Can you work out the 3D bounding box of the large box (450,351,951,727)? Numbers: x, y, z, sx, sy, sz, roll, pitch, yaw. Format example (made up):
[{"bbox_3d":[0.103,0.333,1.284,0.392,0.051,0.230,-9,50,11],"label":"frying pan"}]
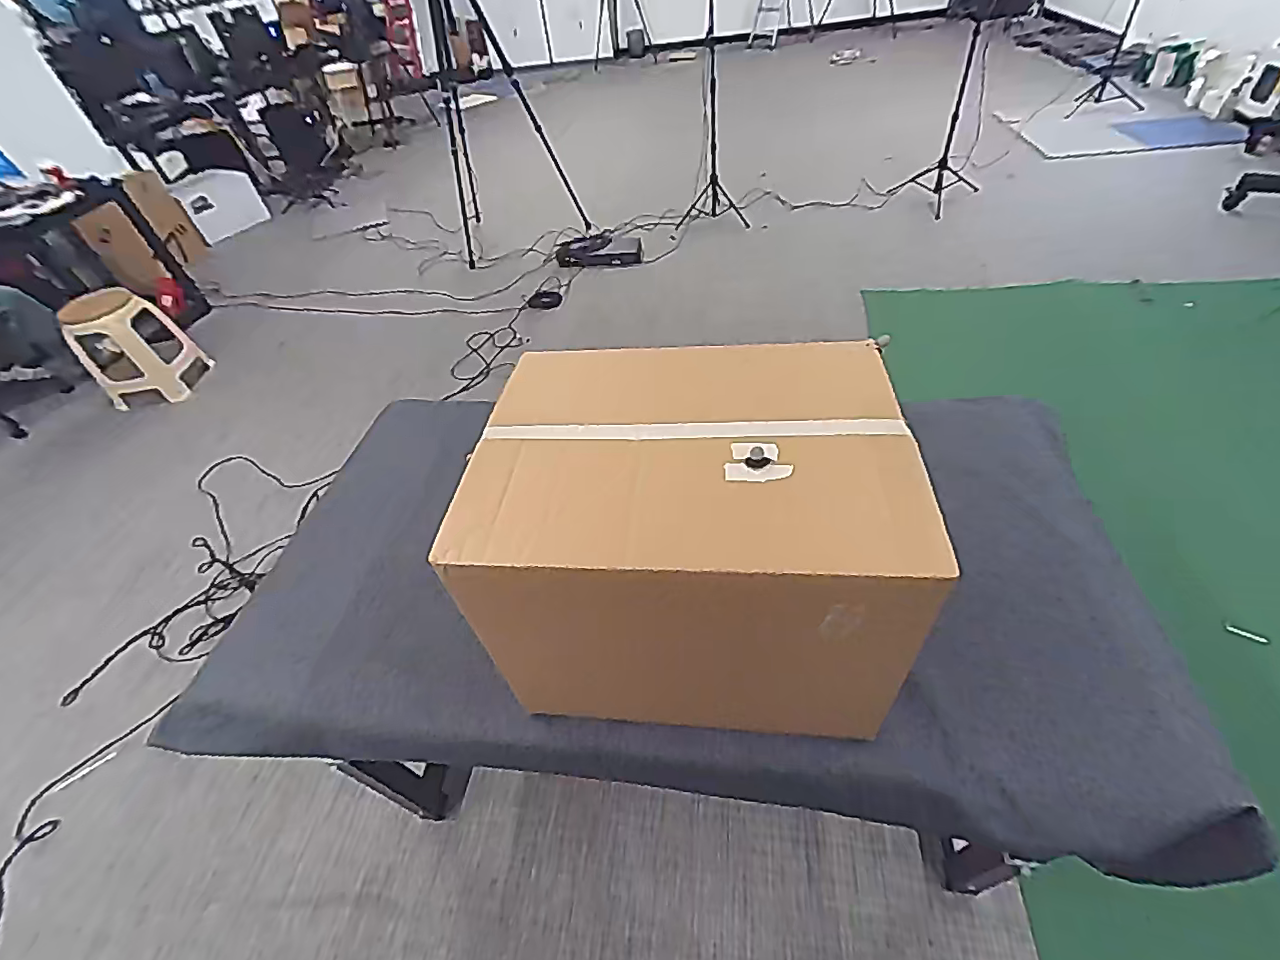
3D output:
[{"bbox_3d":[0.061,0.067,0.631,0.408,0.320,0.320,1,46,8],"label":"large box"}]
